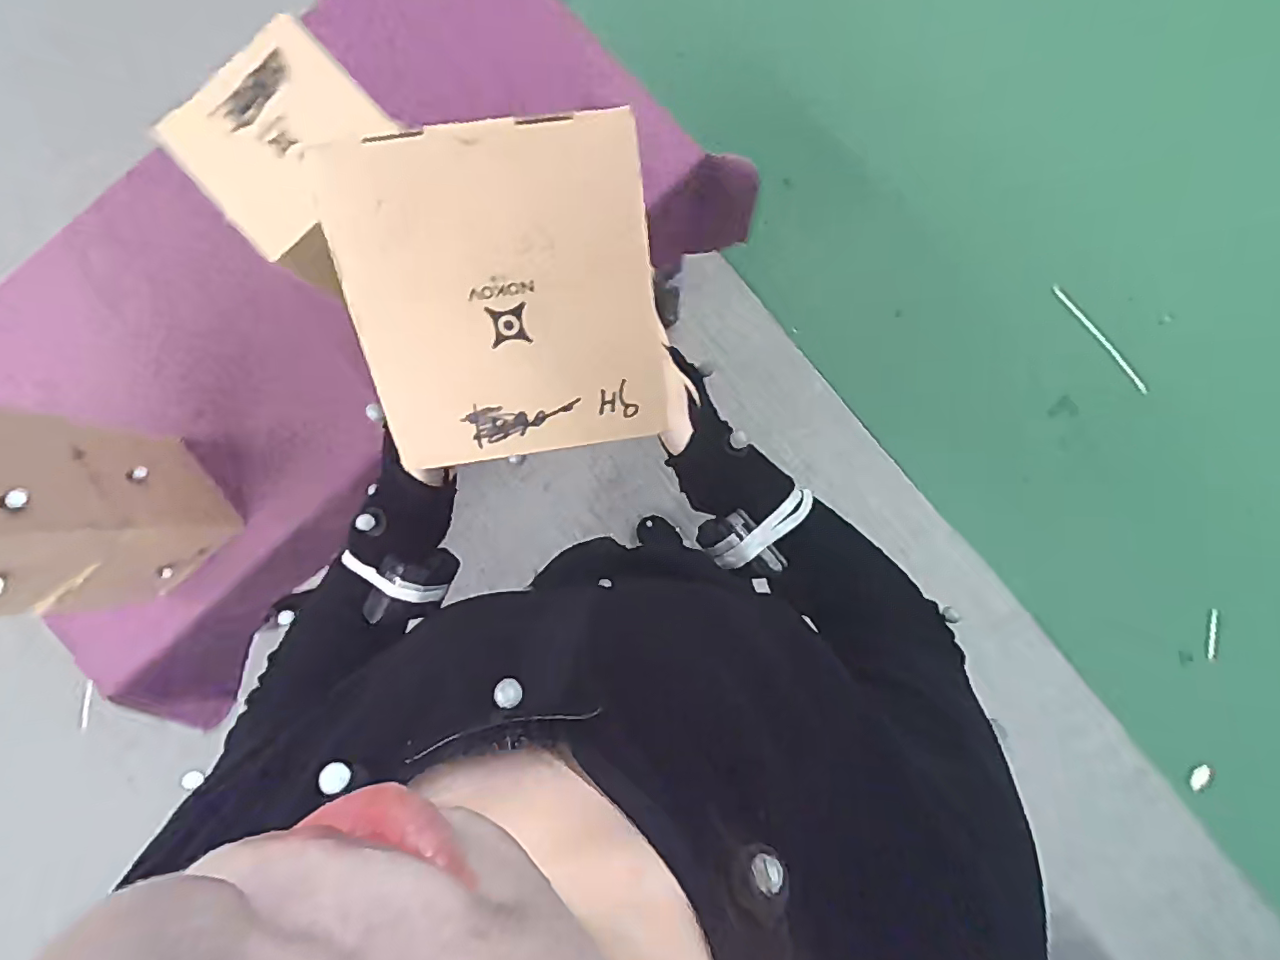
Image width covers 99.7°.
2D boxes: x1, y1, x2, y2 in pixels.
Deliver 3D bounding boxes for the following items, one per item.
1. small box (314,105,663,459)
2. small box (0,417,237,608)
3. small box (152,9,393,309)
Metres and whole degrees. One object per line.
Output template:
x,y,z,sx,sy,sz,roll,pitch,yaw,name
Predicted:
-0.080,-0.132,0.374,0.168,0.176,0.179,-7,115,-2,small box
-0.710,0.044,0.727,0.168,0.176,0.179,-41,87,-1,small box
-0.325,-0.309,0.565,0.168,0.176,0.179,-43,87,0,small box
